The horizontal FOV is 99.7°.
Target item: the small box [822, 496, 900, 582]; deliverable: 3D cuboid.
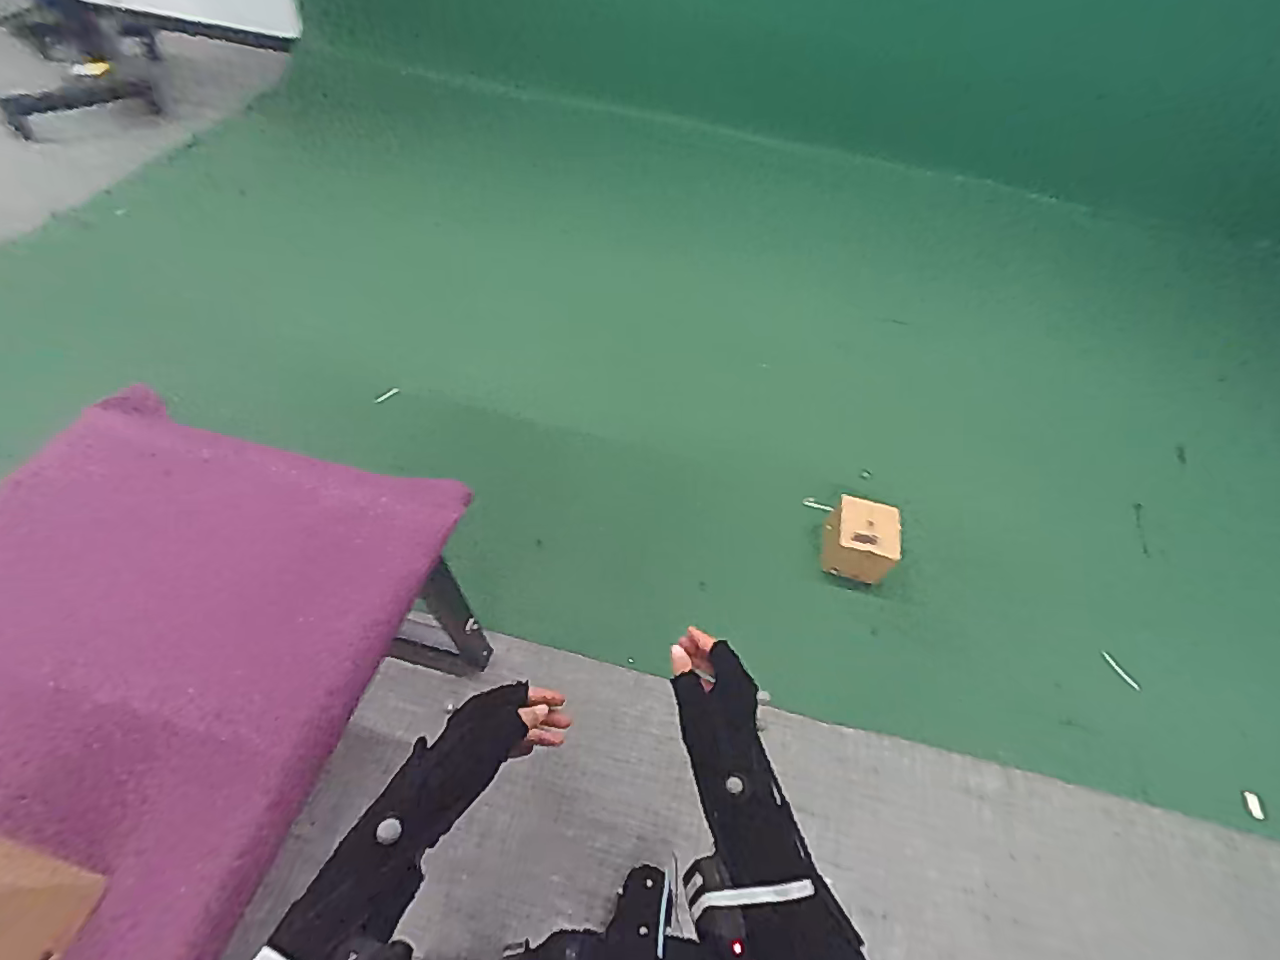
[{"bbox_3d":[0.648,0.179,1.593,0.168,0.176,0.179,15,55,5],"label":"small box"}]
